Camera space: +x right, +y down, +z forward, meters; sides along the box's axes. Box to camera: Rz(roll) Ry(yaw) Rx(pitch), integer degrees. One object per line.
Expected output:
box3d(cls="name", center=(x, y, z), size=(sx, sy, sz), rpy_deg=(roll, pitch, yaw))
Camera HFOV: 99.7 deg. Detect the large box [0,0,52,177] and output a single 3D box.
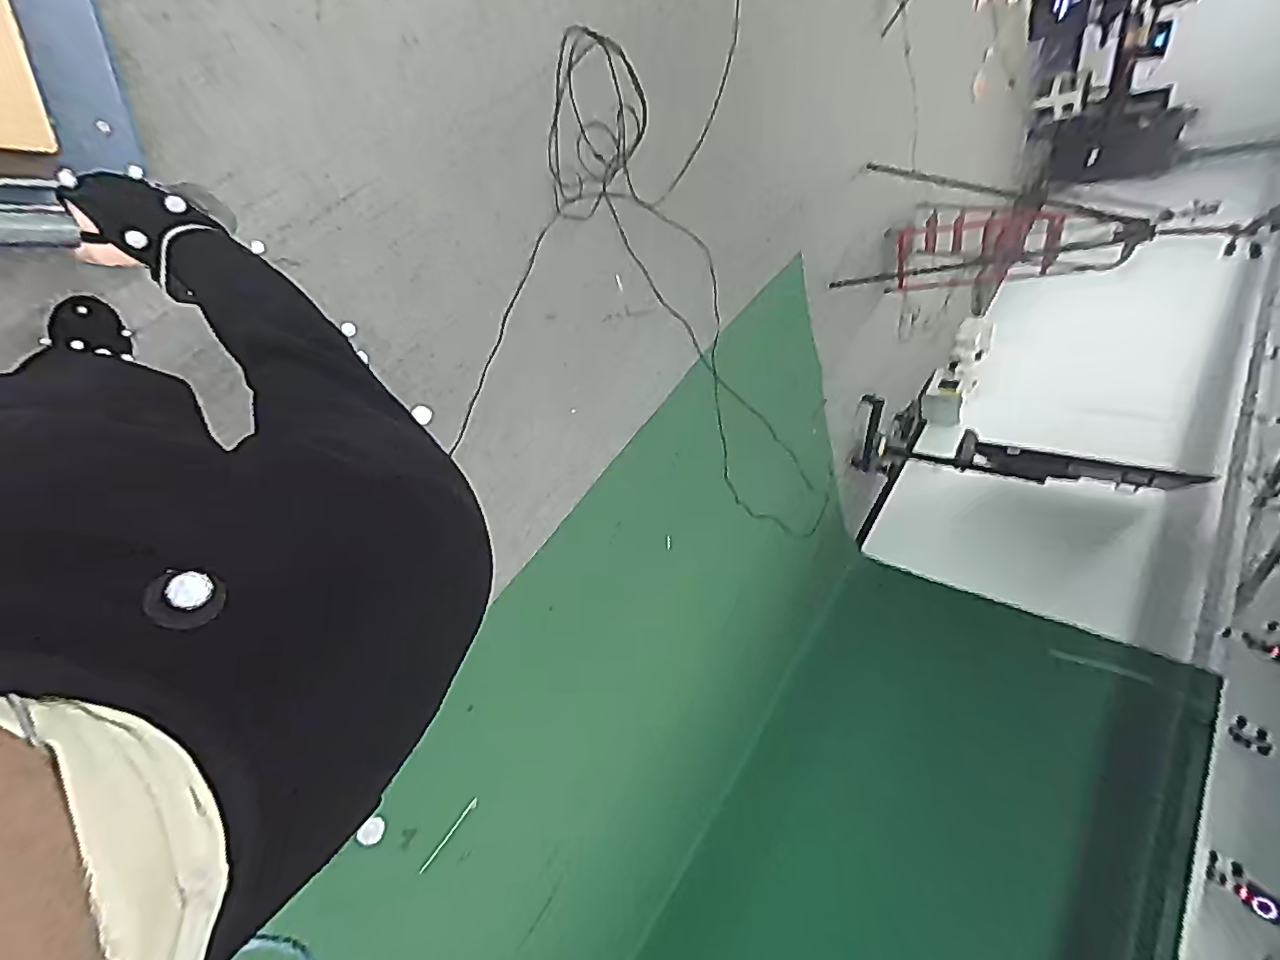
box3d(cls="large box", center=(-1.034, -0.631, 0.673), size=(0.320, 0.320, 0.408), rpy_deg=(-23, 119, -43))
